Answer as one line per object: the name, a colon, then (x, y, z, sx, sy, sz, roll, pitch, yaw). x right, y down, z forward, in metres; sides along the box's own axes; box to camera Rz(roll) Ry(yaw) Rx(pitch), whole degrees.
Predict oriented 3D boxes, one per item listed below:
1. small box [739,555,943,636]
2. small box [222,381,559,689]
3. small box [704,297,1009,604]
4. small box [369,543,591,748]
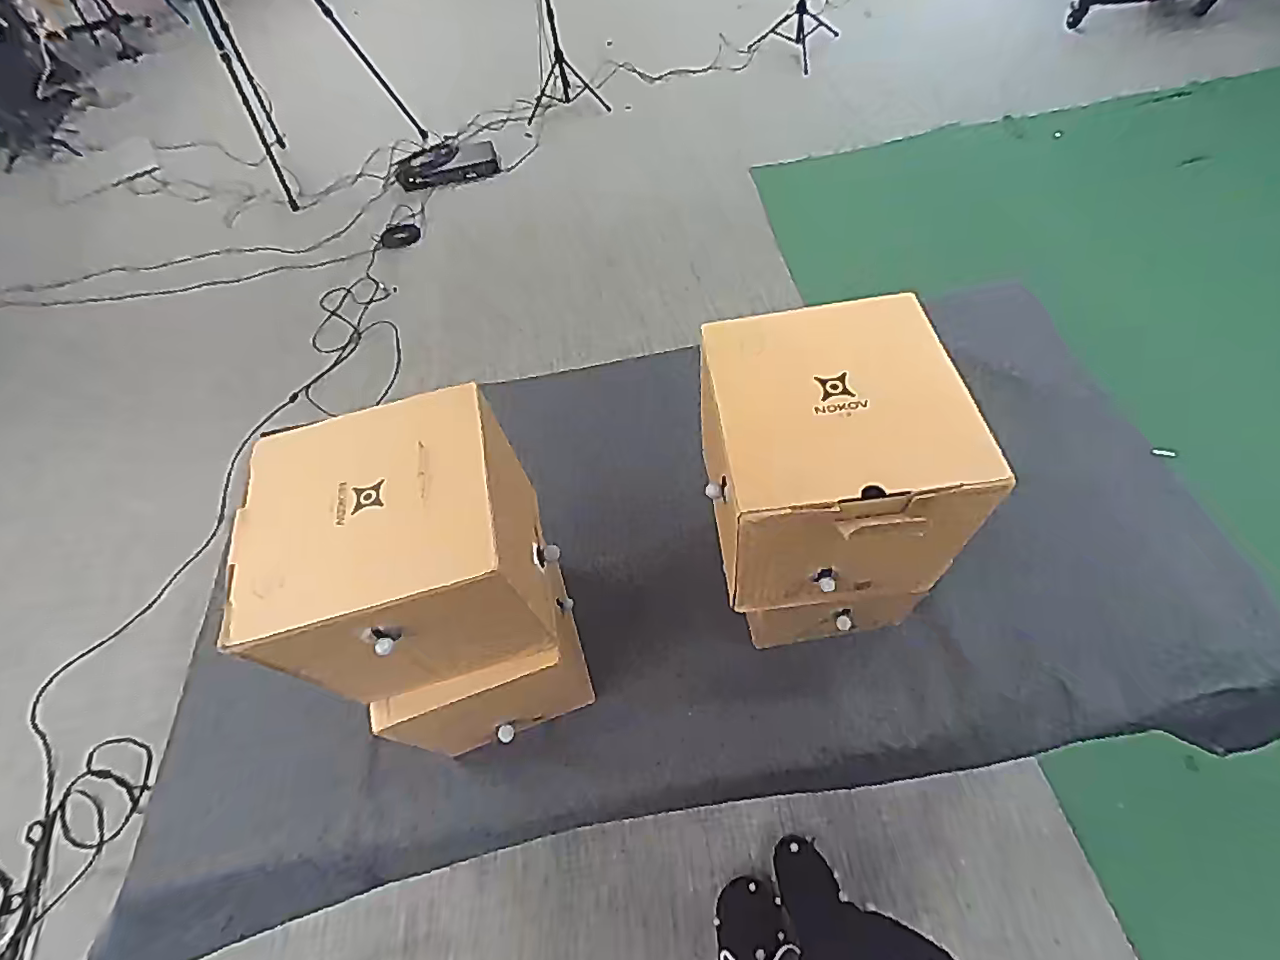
small box: (0.184, 0.057, 0.582, 0.168, 0.176, 0.179, -11, 57, 1)
small box: (-0.179, 0.053, 0.437, 0.179, 0.176, 0.168, -15, 58, -4)
small box: (0.143, -0.017, 0.440, 0.168, 0.176, 0.179, -8, 57, 3)
small box: (-0.162, 0.154, 0.564, 0.168, 0.176, 0.179, -19, 57, -5)
